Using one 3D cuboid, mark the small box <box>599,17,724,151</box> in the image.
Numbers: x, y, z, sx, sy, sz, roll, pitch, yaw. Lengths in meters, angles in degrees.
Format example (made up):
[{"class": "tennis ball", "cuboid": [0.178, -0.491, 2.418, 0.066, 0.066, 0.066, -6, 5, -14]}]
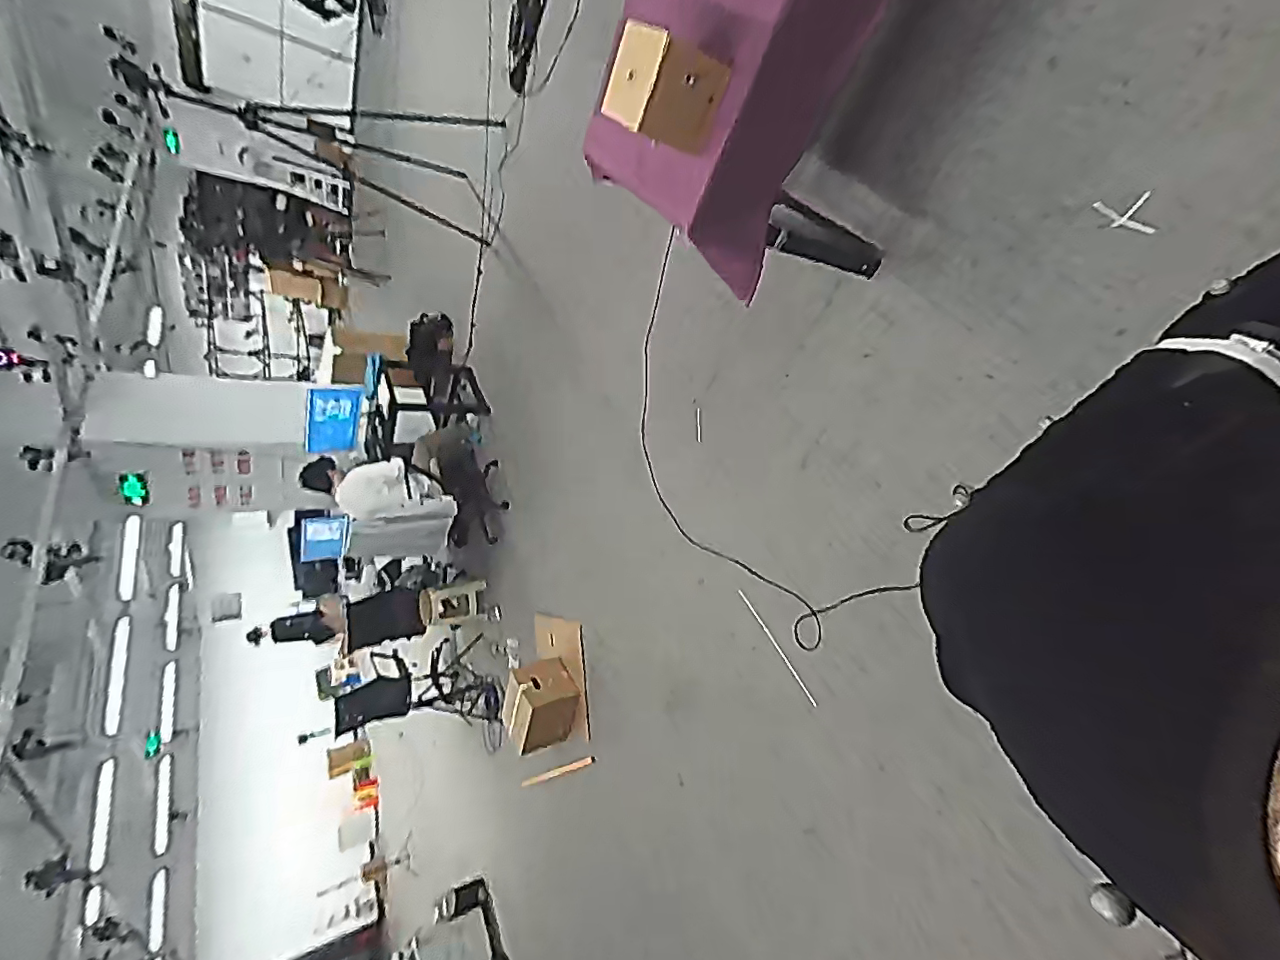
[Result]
[{"class": "small box", "cuboid": [0.044, -0.815, 1.126, 0.179, 0.176, 0.168, 55, 132, 37]}]
